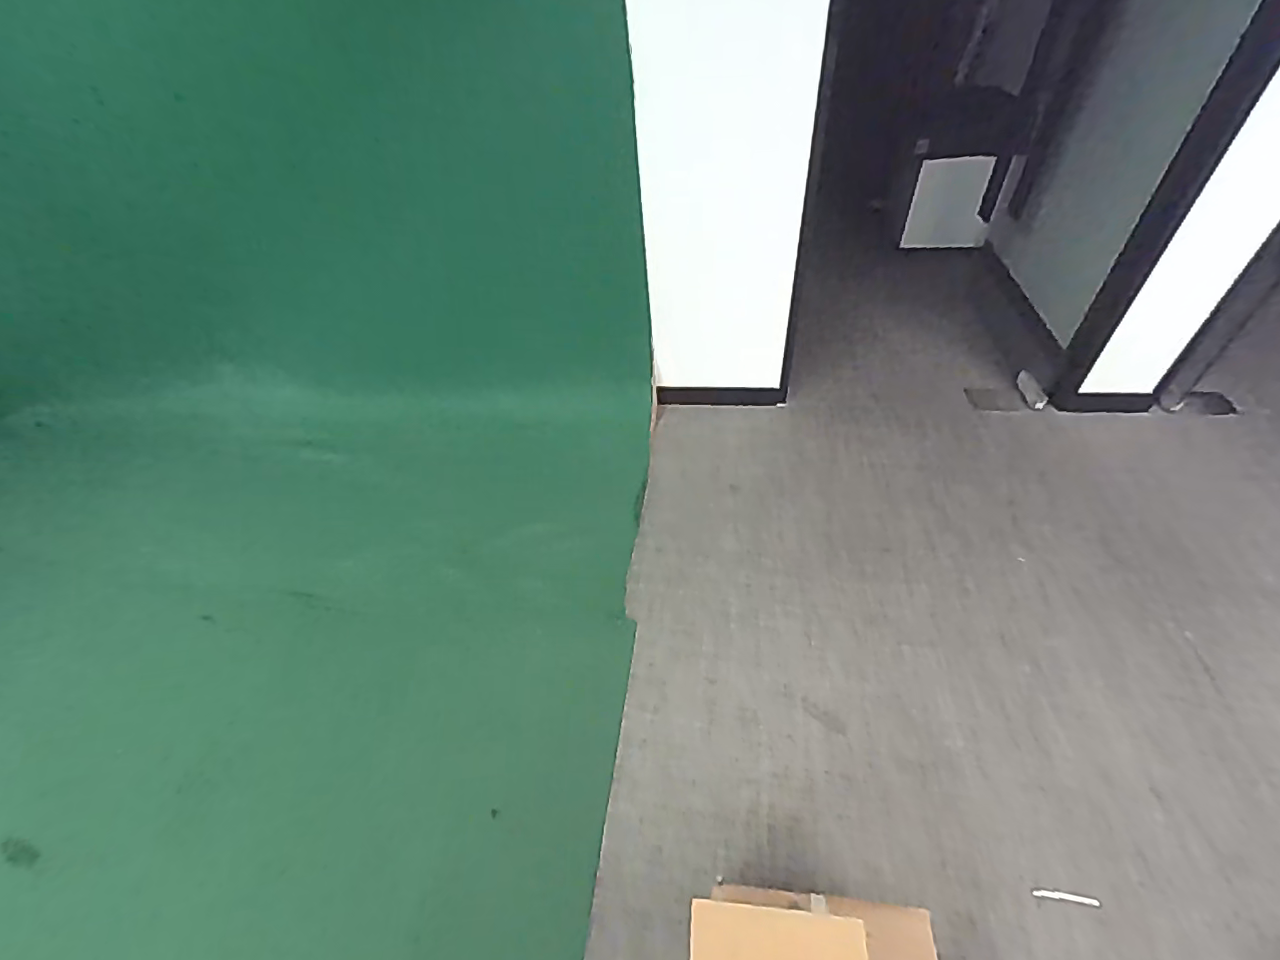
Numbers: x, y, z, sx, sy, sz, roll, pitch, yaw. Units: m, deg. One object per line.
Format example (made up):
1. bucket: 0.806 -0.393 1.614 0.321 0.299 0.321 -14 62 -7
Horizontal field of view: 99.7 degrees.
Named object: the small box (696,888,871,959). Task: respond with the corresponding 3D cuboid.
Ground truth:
1. small box: 0.138 0.534 0.538 0.168 0.176 0.179 -1 48 10
